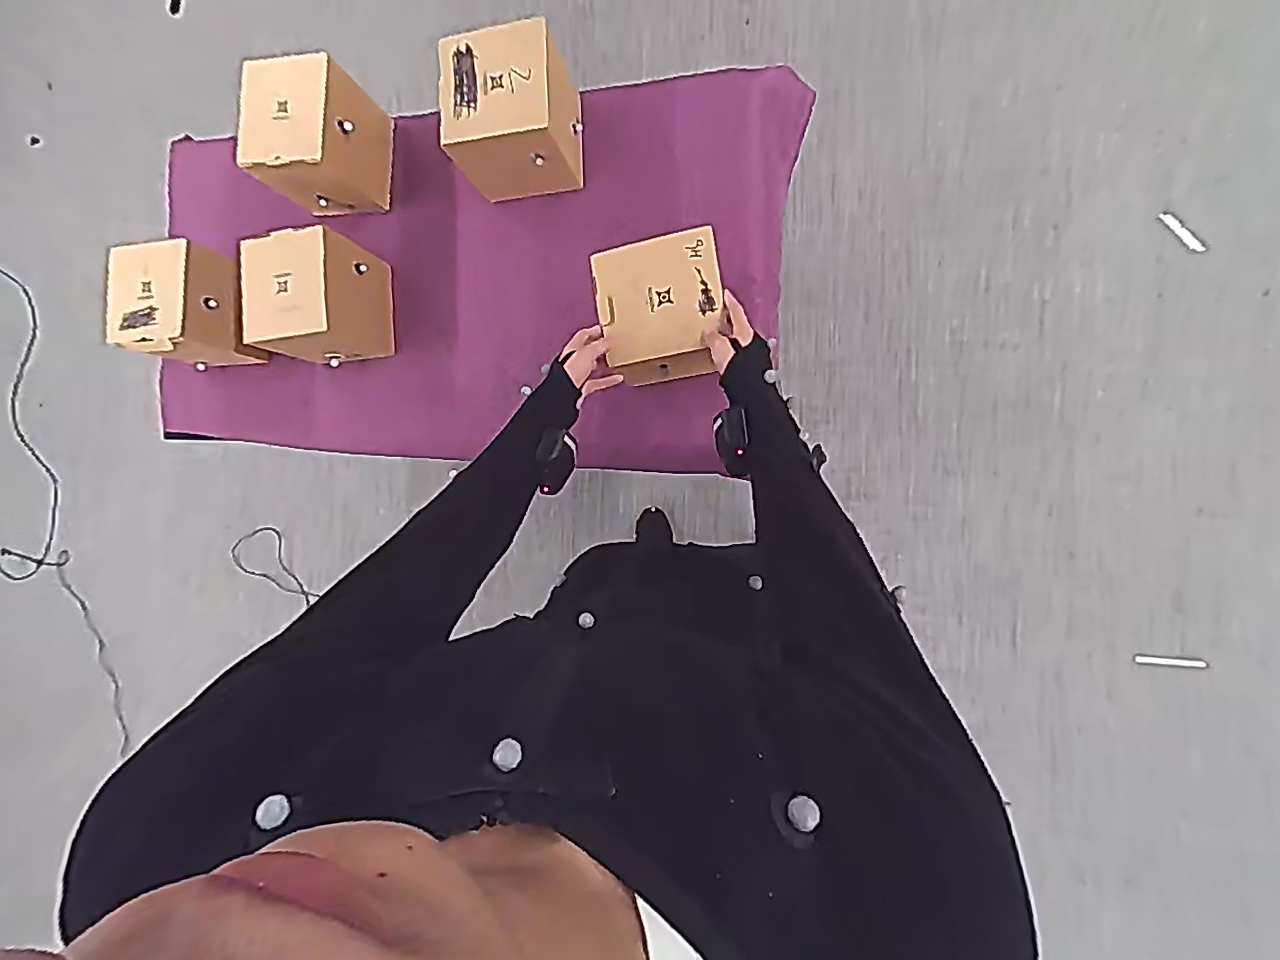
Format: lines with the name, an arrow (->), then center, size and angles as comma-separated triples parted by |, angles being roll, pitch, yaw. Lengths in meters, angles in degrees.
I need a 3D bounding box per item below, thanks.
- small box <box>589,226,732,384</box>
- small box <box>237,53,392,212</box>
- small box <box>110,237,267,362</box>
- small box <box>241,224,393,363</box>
small box -> 0.038, -0.250, 0.820 | 0.179, 0.176, 0.168 | -9, 89, 12
small box -> -0.563, -0.600, 0.955 | 0.168, 0.176, 0.179 | 4, 91, 11
small box -> -0.829, -0.324, 1.009 | 0.168, 0.176, 0.179 | -1, 88, 12
small box -> -0.560, -0.318, 0.955 | 0.168, 0.176, 0.179 | -4, 88, 13
